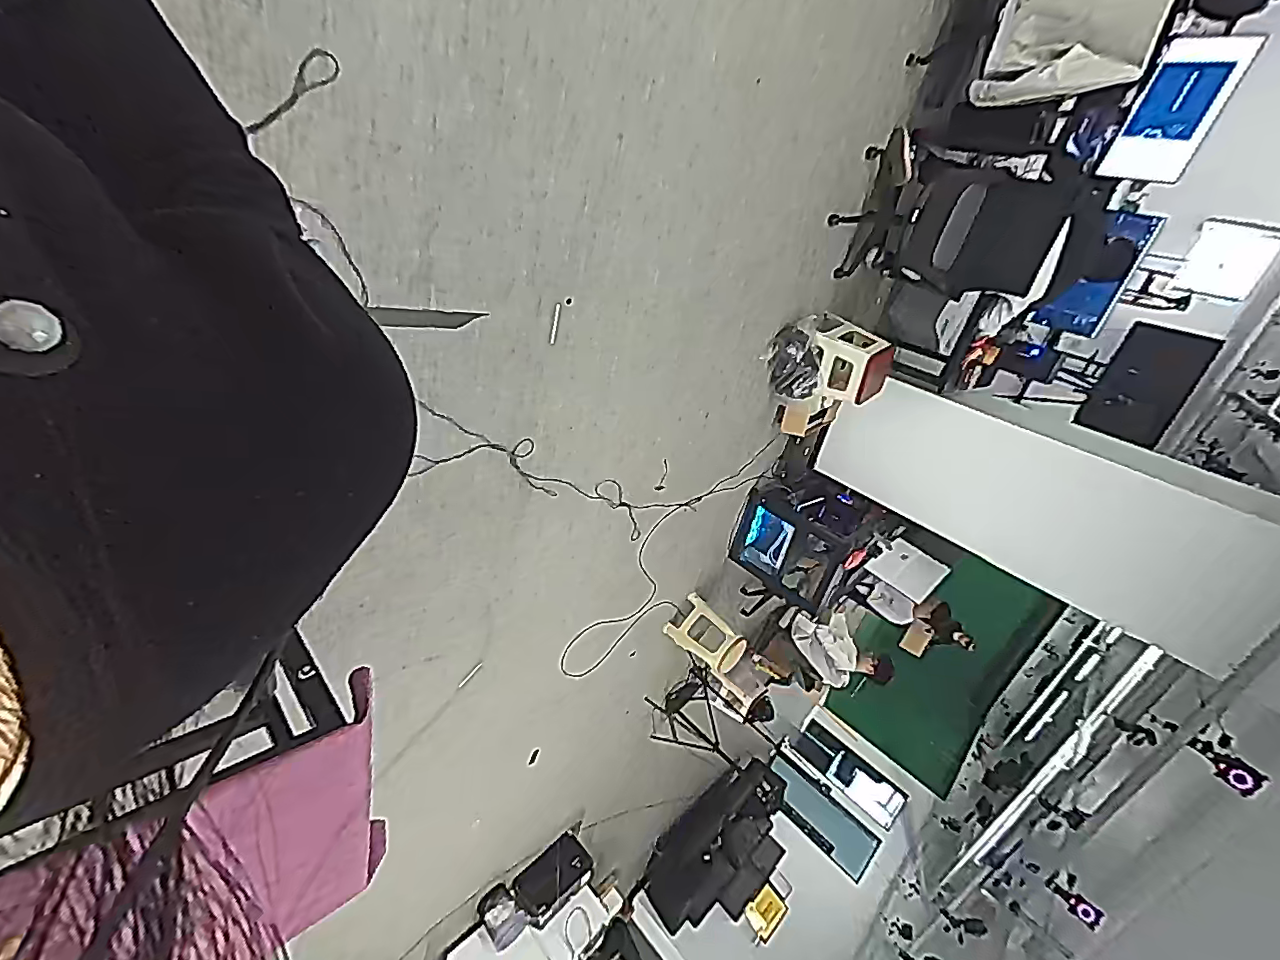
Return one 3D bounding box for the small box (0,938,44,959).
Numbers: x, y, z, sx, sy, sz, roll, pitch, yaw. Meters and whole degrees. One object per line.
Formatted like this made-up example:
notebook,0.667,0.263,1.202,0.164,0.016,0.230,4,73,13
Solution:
small box,-0.909,0.780,0.723,0.168,0.176,0.179,-13,128,-47
